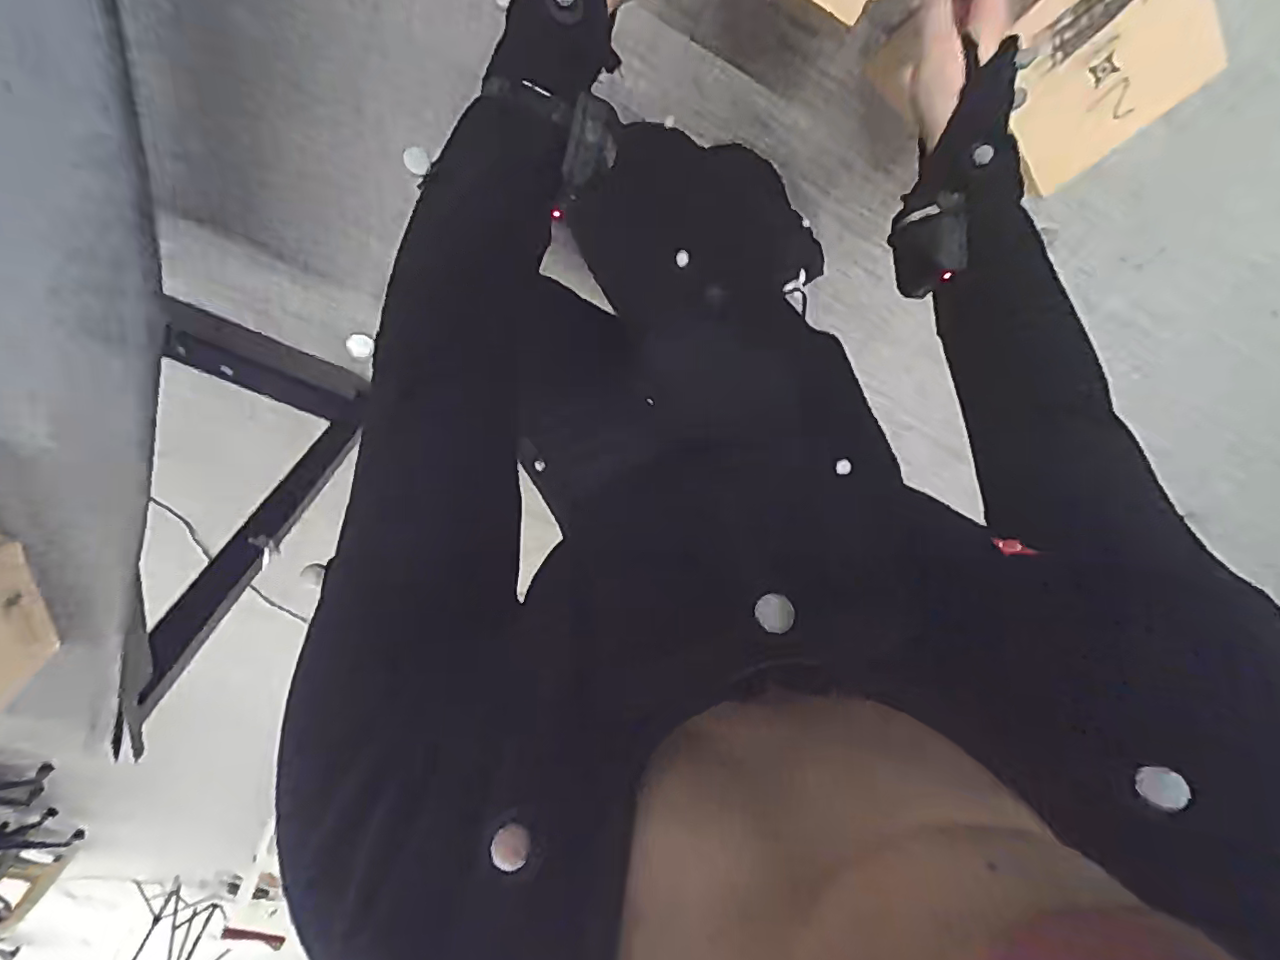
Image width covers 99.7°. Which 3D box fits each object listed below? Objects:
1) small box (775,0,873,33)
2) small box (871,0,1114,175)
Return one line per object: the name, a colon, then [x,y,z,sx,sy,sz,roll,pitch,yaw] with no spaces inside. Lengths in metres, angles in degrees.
small box: [0.209,-0.654,0.617,0.179,0.176,0.168,22,127,-13]
small box: [0.435,-0.539,0.695,0.179,0.176,0.168,30,125,-20]
